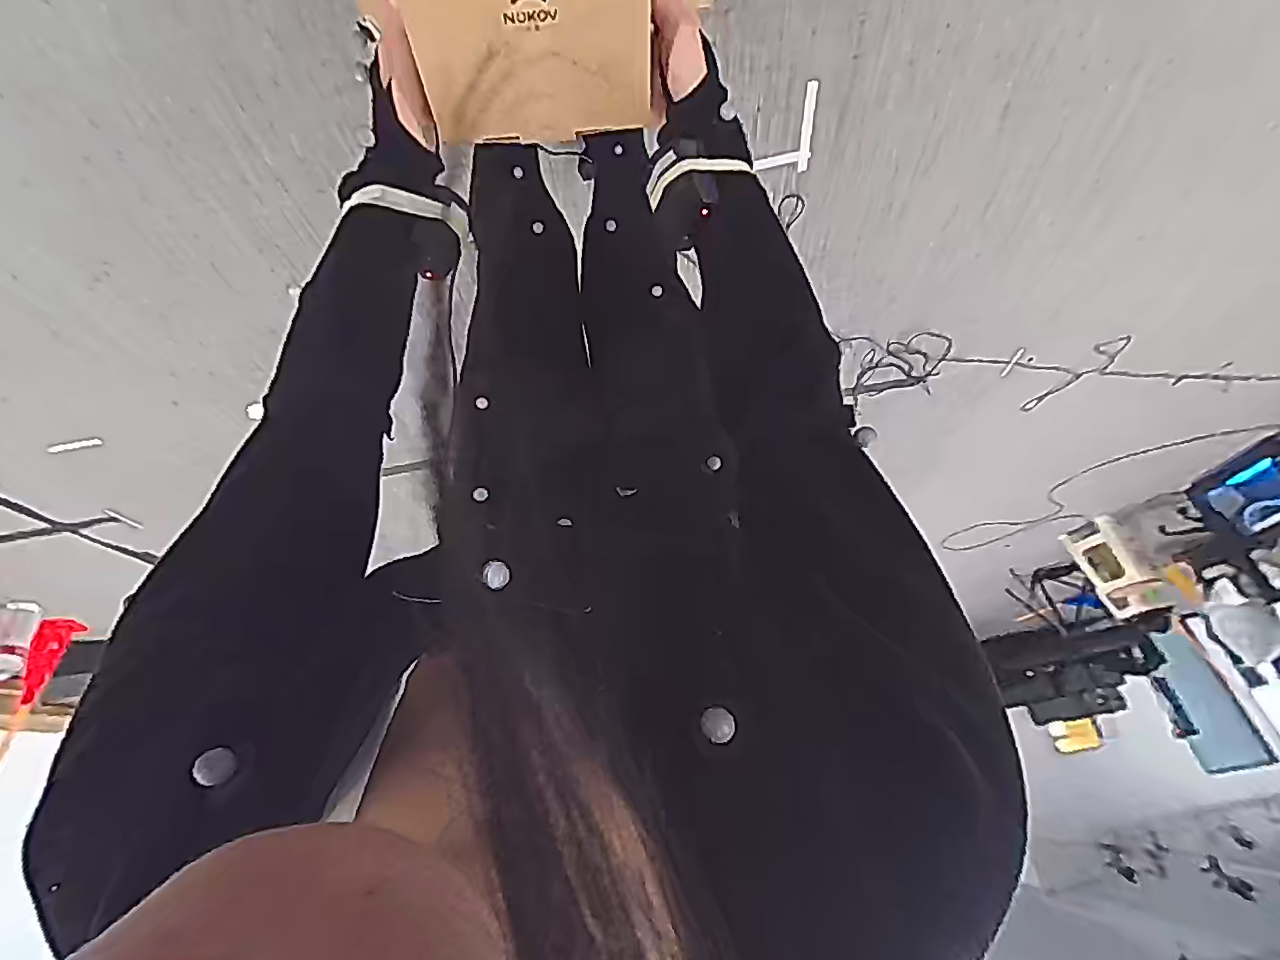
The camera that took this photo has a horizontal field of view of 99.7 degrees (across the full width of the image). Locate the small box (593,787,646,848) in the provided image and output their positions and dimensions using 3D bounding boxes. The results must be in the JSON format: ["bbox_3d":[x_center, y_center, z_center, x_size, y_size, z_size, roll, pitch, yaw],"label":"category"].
[{"bbox_3d":[-0.076,1.252,2.016,0.168,0.176,0.179,-10,151,0],"label":"small box"}]

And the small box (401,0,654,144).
[{"bbox_3d":[-0.084,-0.382,0.387,0.168,0.176,0.179,-9,152,-5],"label":"small box"}]
